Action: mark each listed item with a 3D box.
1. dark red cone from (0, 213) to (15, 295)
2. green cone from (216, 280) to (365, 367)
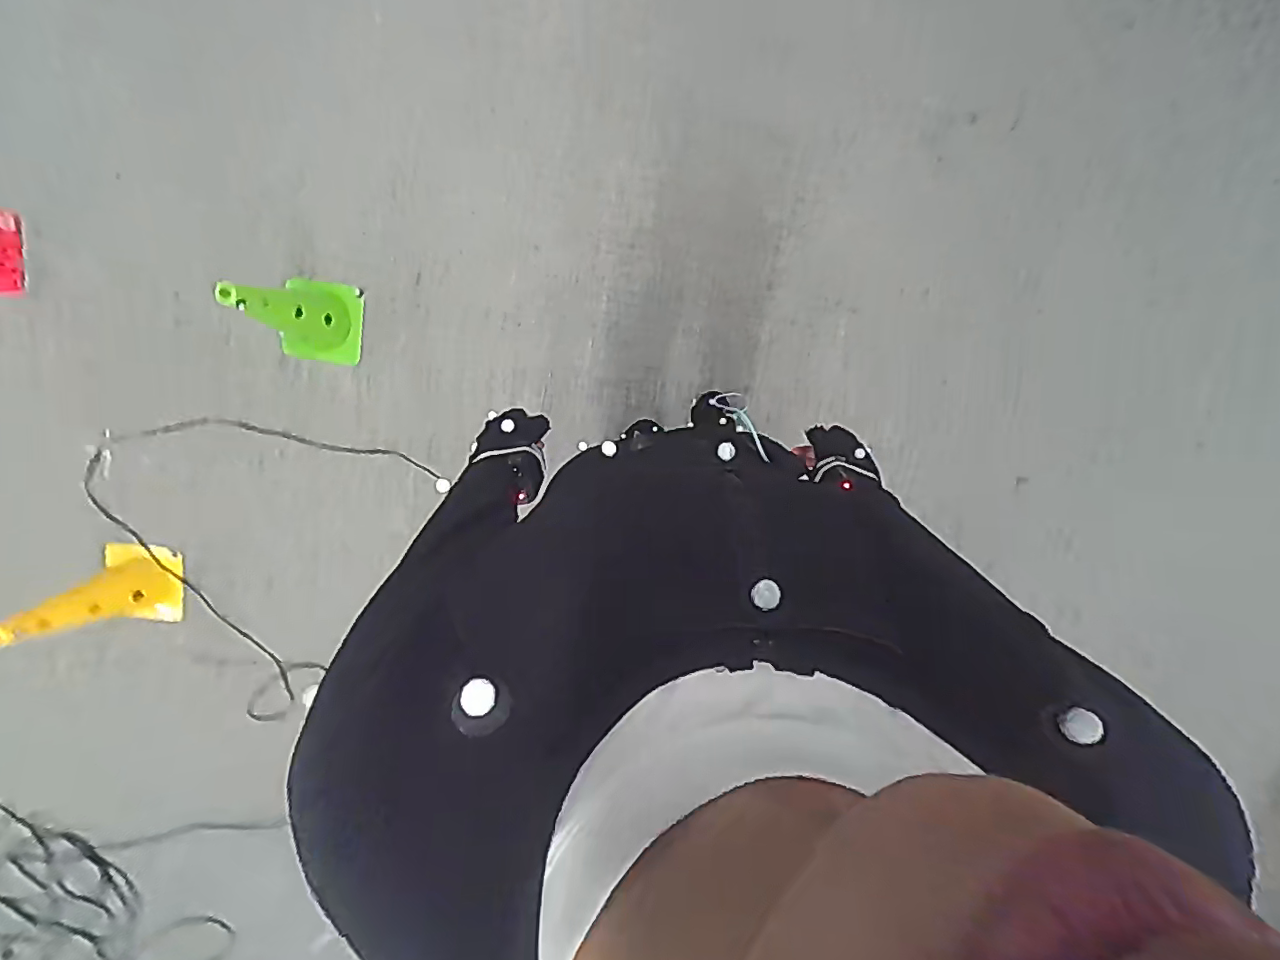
[{"bbox_3d":[-1.644,-0.540,1.166,0.201,0.394,0.202,4,97,0],"label":"dark red cone"},{"bbox_3d":[-0.815,-0.379,1.230,0.200,0.368,0.202,8,98,-2],"label":"green cone"}]
